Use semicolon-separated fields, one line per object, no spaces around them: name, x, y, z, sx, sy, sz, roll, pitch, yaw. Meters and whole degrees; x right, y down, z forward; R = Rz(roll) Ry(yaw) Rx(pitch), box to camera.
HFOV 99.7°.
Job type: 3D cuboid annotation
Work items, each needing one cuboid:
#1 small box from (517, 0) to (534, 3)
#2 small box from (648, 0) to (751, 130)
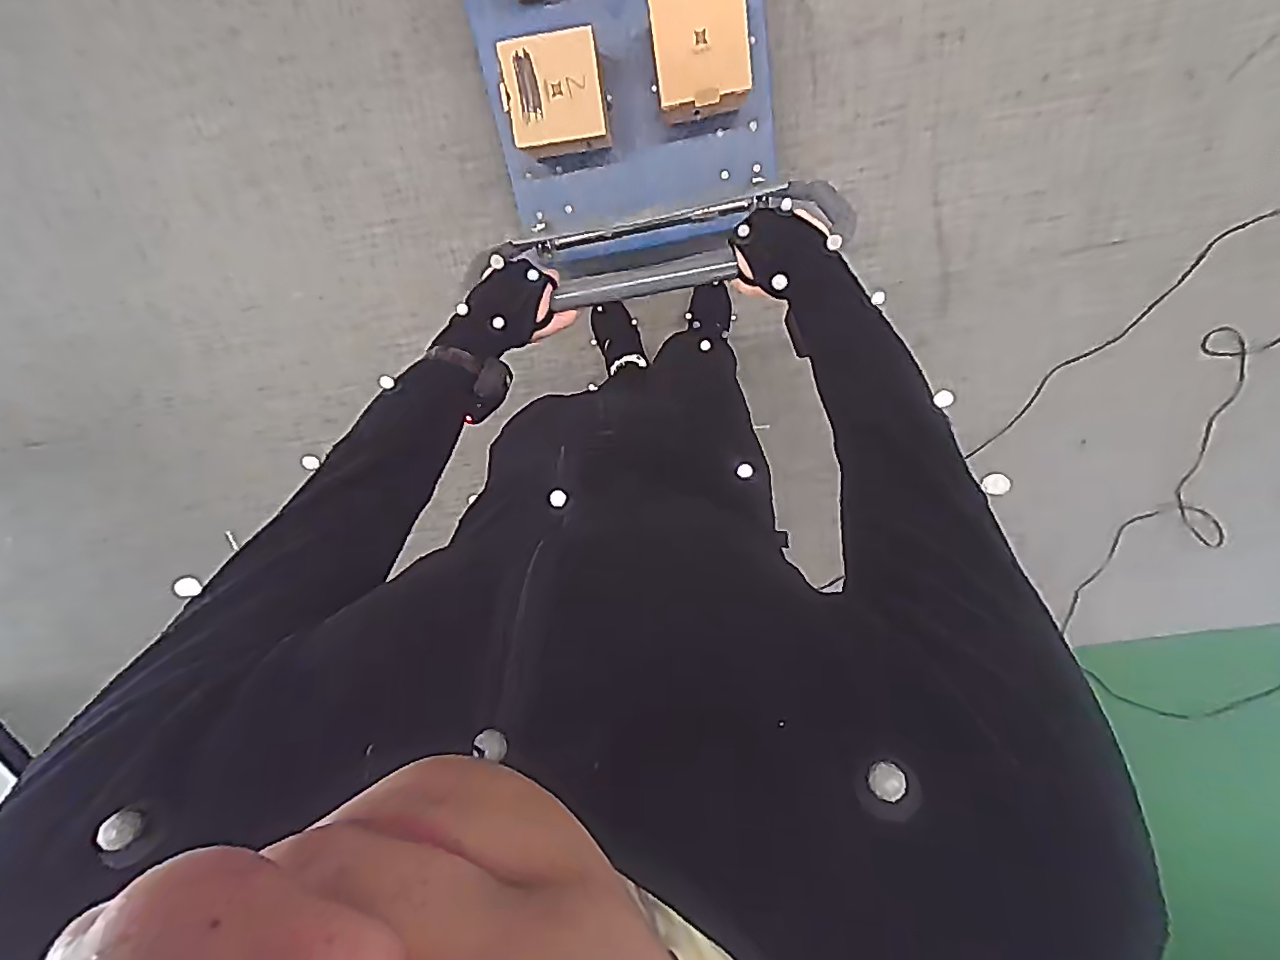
small box;-0.191;-0.983;0.943;0.168;0.176;0.179;-16;113;8
small box;0.108;-0.791;1.024;0.168;0.176;0.179;-9;115;6
